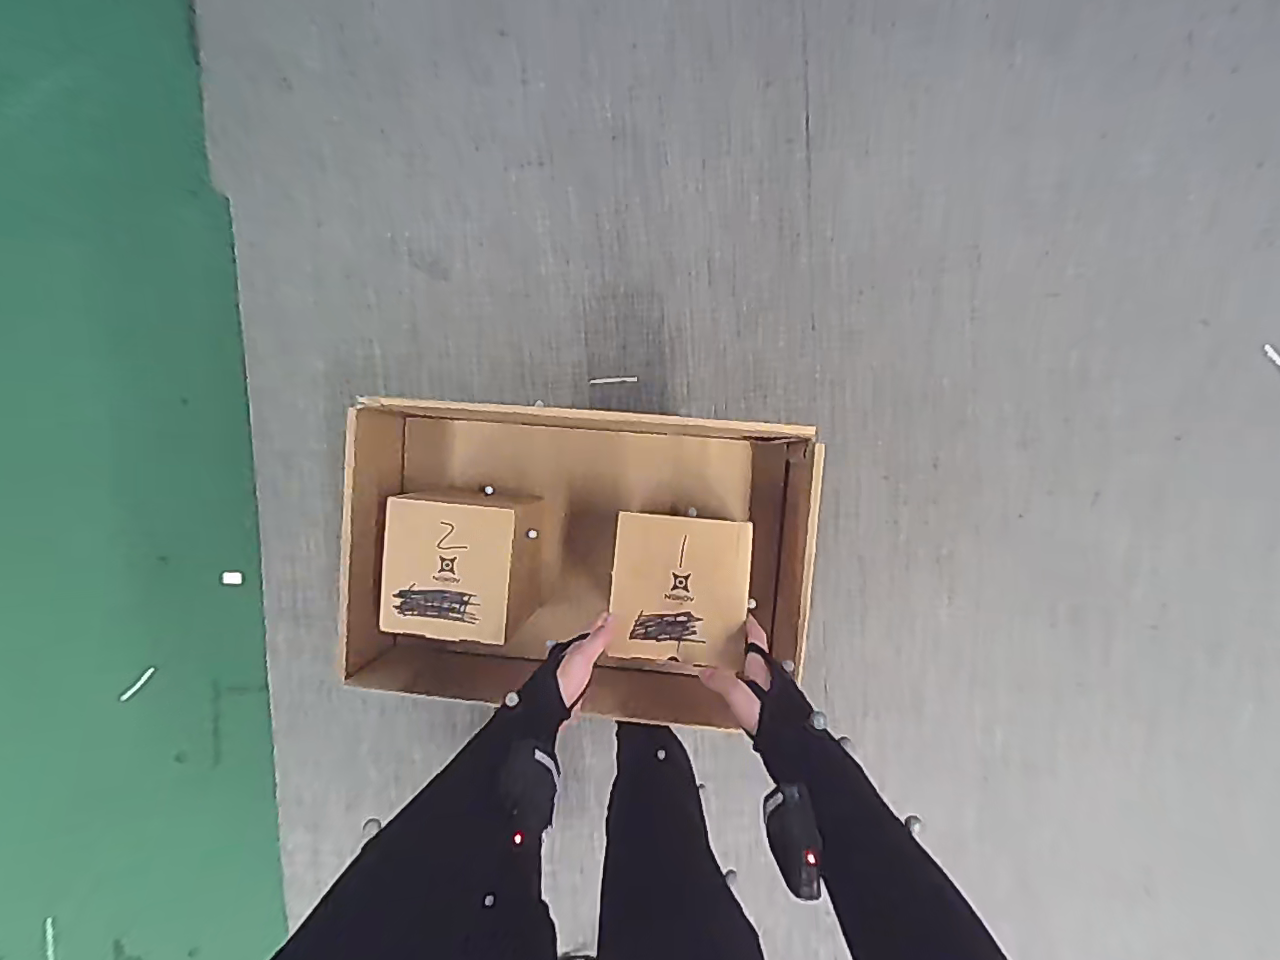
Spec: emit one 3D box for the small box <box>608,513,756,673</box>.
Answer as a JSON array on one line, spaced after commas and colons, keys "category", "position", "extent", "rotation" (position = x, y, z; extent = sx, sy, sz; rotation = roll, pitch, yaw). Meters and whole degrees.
[{"category": "small box", "position": [0.058, 0.142, 0.724], "extent": [0.168, 0.176, 0.179], "rotation": [5, 83, 6]}]
